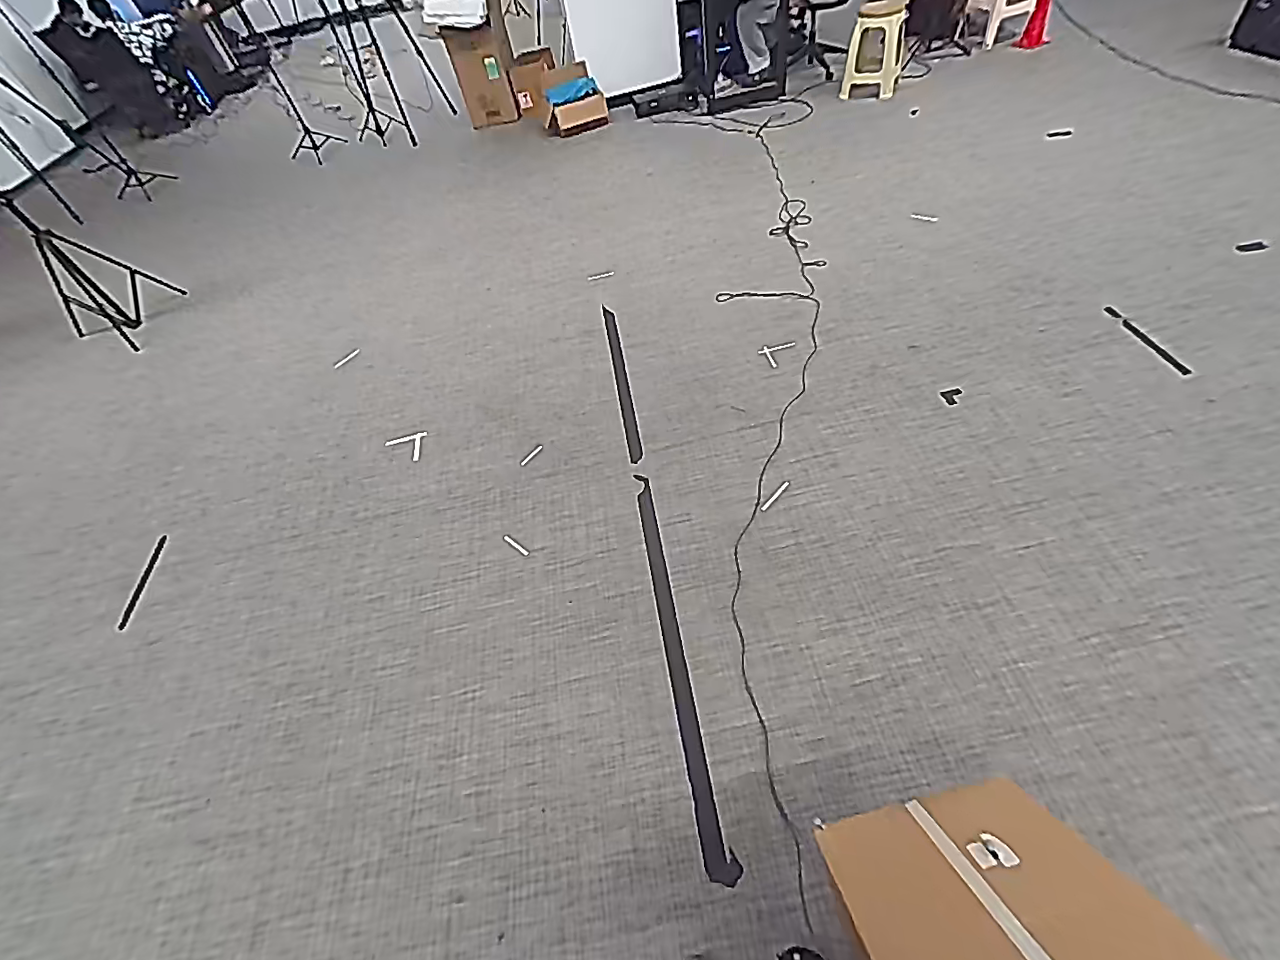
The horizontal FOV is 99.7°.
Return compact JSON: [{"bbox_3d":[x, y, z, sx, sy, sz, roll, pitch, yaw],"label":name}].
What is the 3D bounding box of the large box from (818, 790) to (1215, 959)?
[{"bbox_3d":[0.462,0.661,0.639,0.320,0.408,0.320,-15,88,1],"label":"large box"}]
